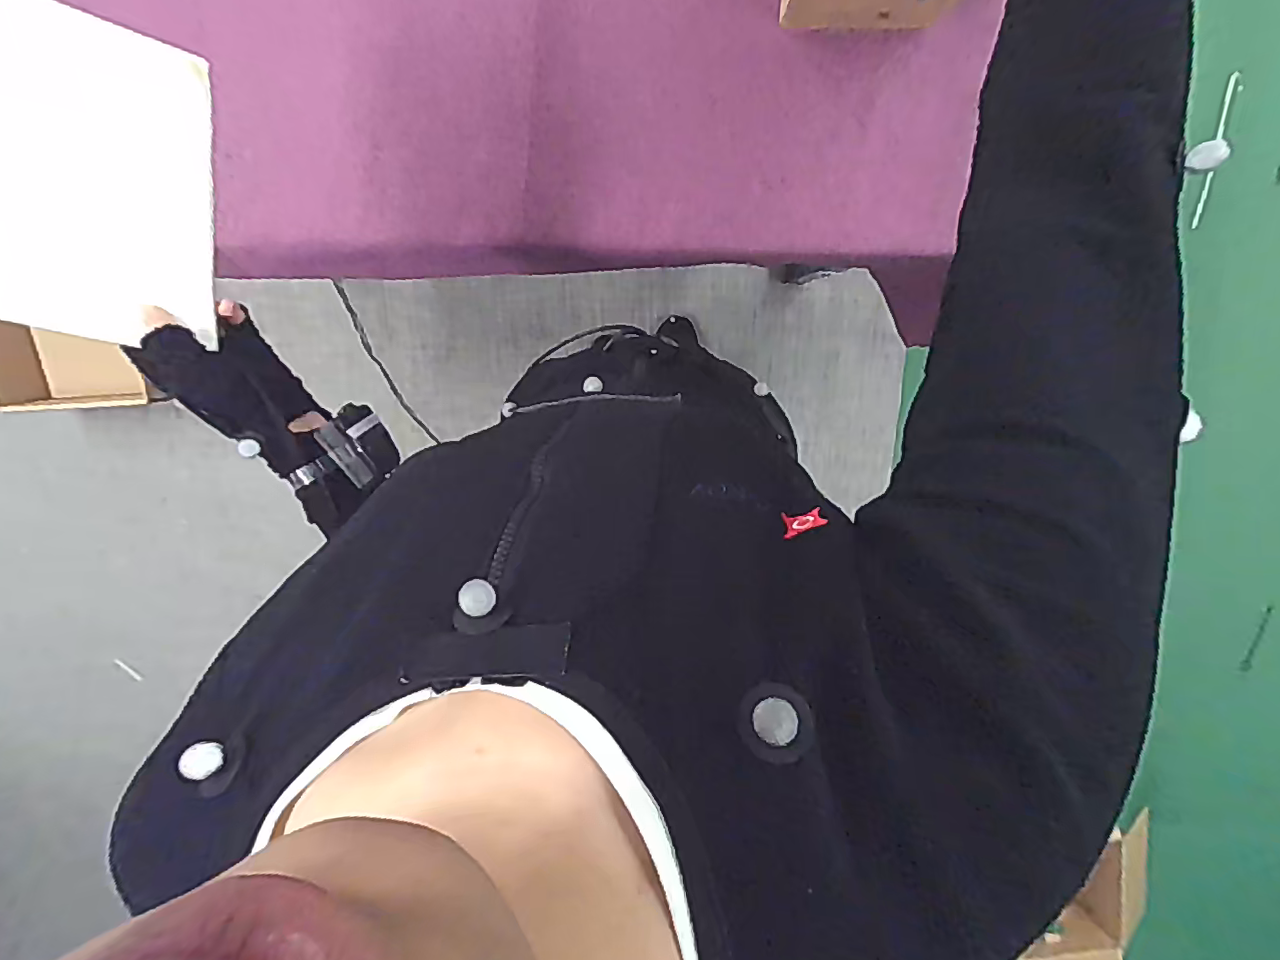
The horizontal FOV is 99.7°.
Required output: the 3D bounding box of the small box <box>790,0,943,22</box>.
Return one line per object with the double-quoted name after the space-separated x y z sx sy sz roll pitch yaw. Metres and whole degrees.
0.233 -0.555 0.486 0.168 0.176 0.179 1 106 1 "small box"
